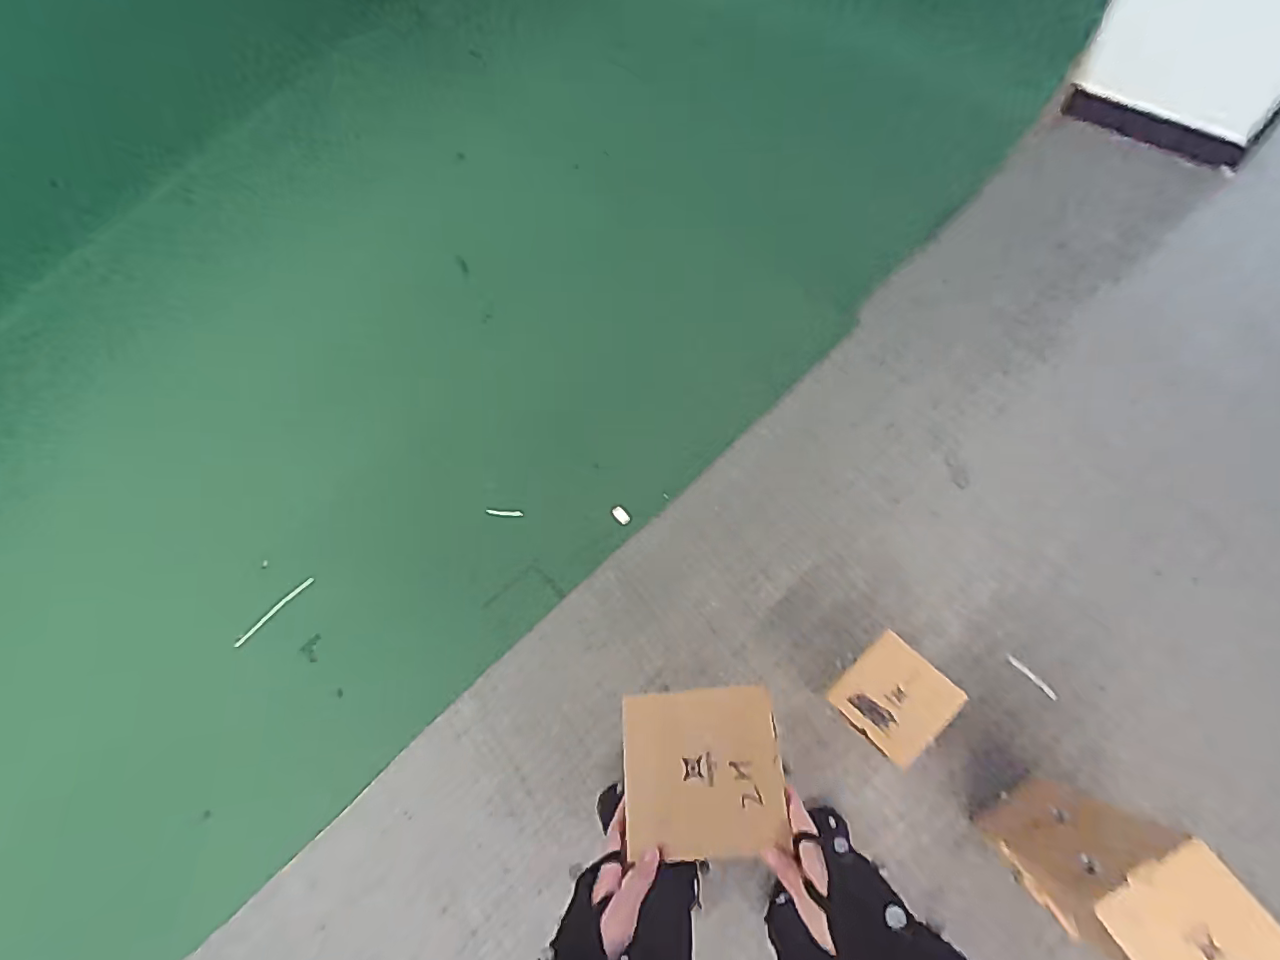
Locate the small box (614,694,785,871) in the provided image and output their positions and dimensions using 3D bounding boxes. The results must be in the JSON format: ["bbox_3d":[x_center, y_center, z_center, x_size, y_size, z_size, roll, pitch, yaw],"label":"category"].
[{"bbox_3d":[0.075,0.366,0.655,0.179,0.176,0.168,-9,59,8],"label":"small box"}]

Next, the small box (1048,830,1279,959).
[{"bbox_3d":[0.702,0.600,0.718,0.168,0.176,0.179,-34,65,2],"label":"small box"}]

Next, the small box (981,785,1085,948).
[{"bbox_3d":[0.781,0.709,1.014,0.179,0.176,0.168,-36,65,1],"label":"small box"}]

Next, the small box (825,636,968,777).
[{"bbox_3d":[0.472,0.425,1.026,0.179,0.176,0.168,-45,65,-6],"label":"small box"}]

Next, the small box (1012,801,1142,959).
[{"bbox_3d":[0.752,0.653,0.864,0.168,0.176,0.179,-37,64,-1],"label":"small box"}]
